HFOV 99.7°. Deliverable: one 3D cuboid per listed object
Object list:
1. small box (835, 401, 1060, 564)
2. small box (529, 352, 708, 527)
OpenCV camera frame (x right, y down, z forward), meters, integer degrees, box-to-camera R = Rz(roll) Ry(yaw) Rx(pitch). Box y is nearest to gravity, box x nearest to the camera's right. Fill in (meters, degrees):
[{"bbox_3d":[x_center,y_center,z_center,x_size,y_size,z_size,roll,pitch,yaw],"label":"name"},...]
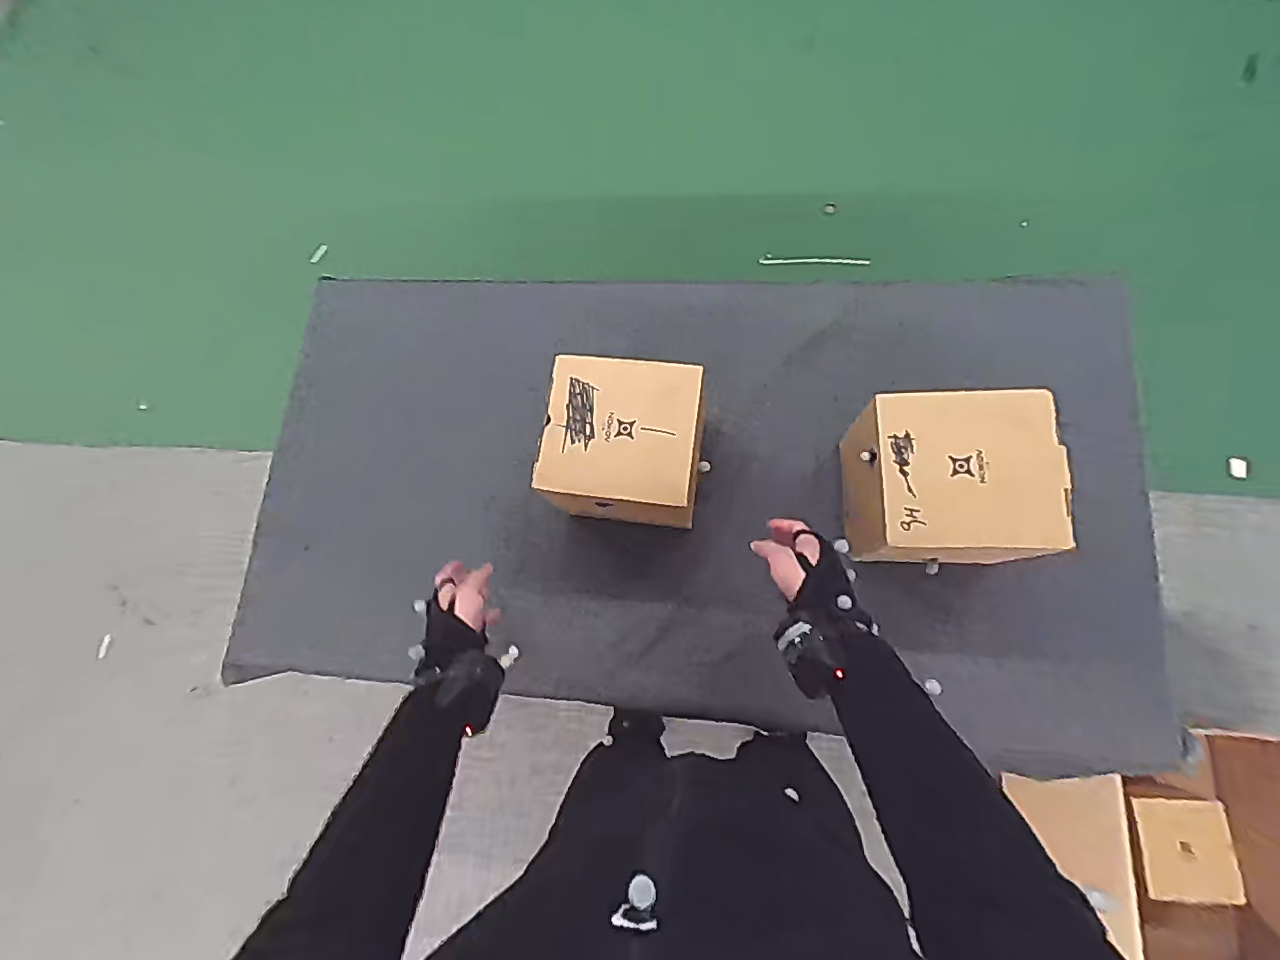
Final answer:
[{"bbox_3d":[0.346,0.012,0.645,0.179,0.176,0.168,-2,78,7],"label":"small box"},{"bbox_3d":[-0.015,-0.041,0.680,0.179,0.176,0.168,10,80,9],"label":"small box"}]
